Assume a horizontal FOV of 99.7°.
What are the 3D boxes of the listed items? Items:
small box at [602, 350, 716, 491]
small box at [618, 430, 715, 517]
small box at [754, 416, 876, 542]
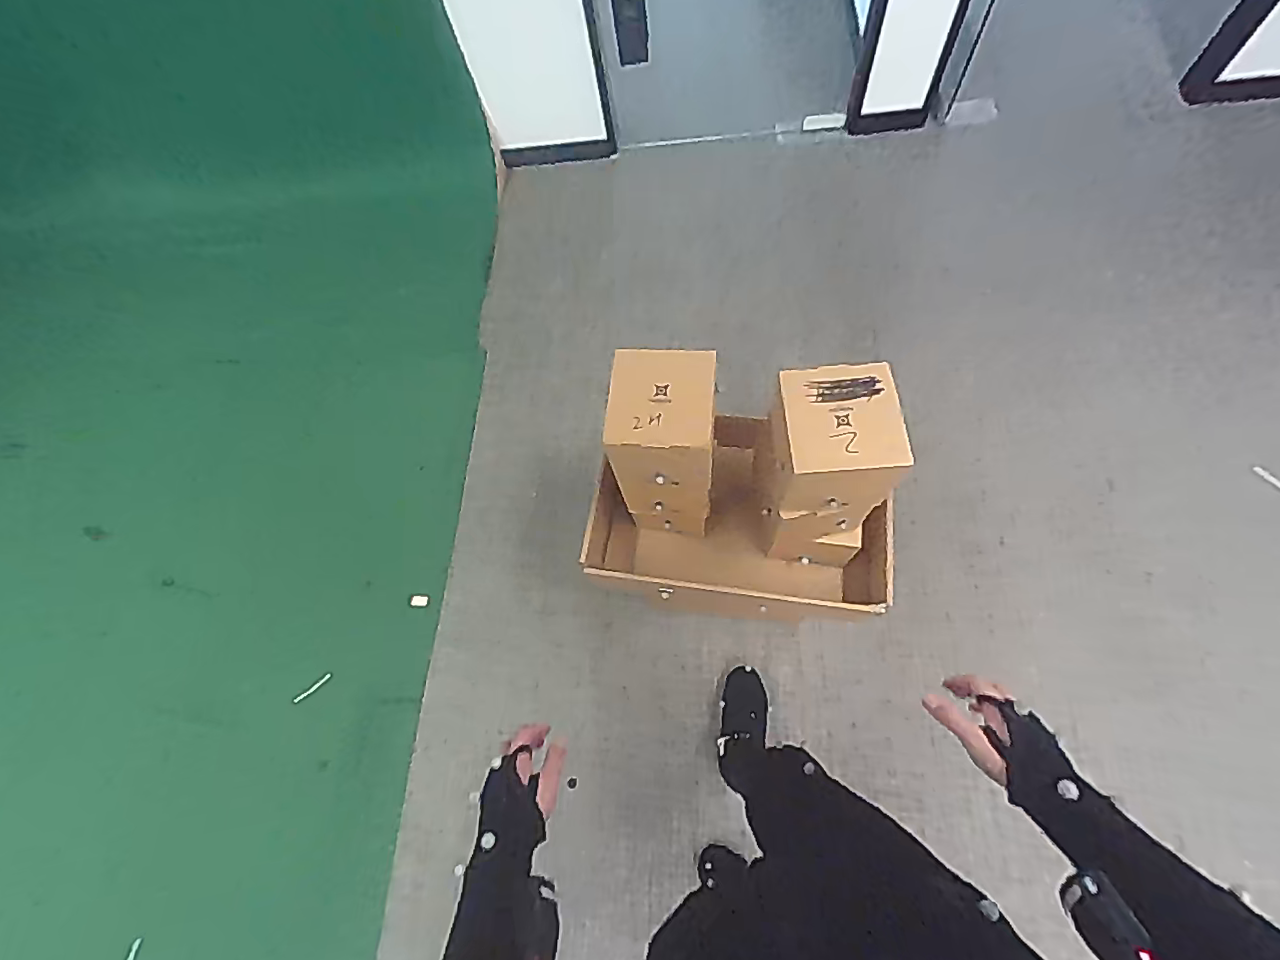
[{"bbox_3d":[0.040,-0.098,0.917,0.168,0.176,0.179,3,67,10],"label":"small box"},{"bbox_3d":[0.060,-0.040,1.070,0.168,0.176,0.179,3,68,10],"label":"small box"},{"bbox_3d":[0.314,0.007,1.010,0.168,0.176,0.179,-10,65,3],"label":"small box"}]
